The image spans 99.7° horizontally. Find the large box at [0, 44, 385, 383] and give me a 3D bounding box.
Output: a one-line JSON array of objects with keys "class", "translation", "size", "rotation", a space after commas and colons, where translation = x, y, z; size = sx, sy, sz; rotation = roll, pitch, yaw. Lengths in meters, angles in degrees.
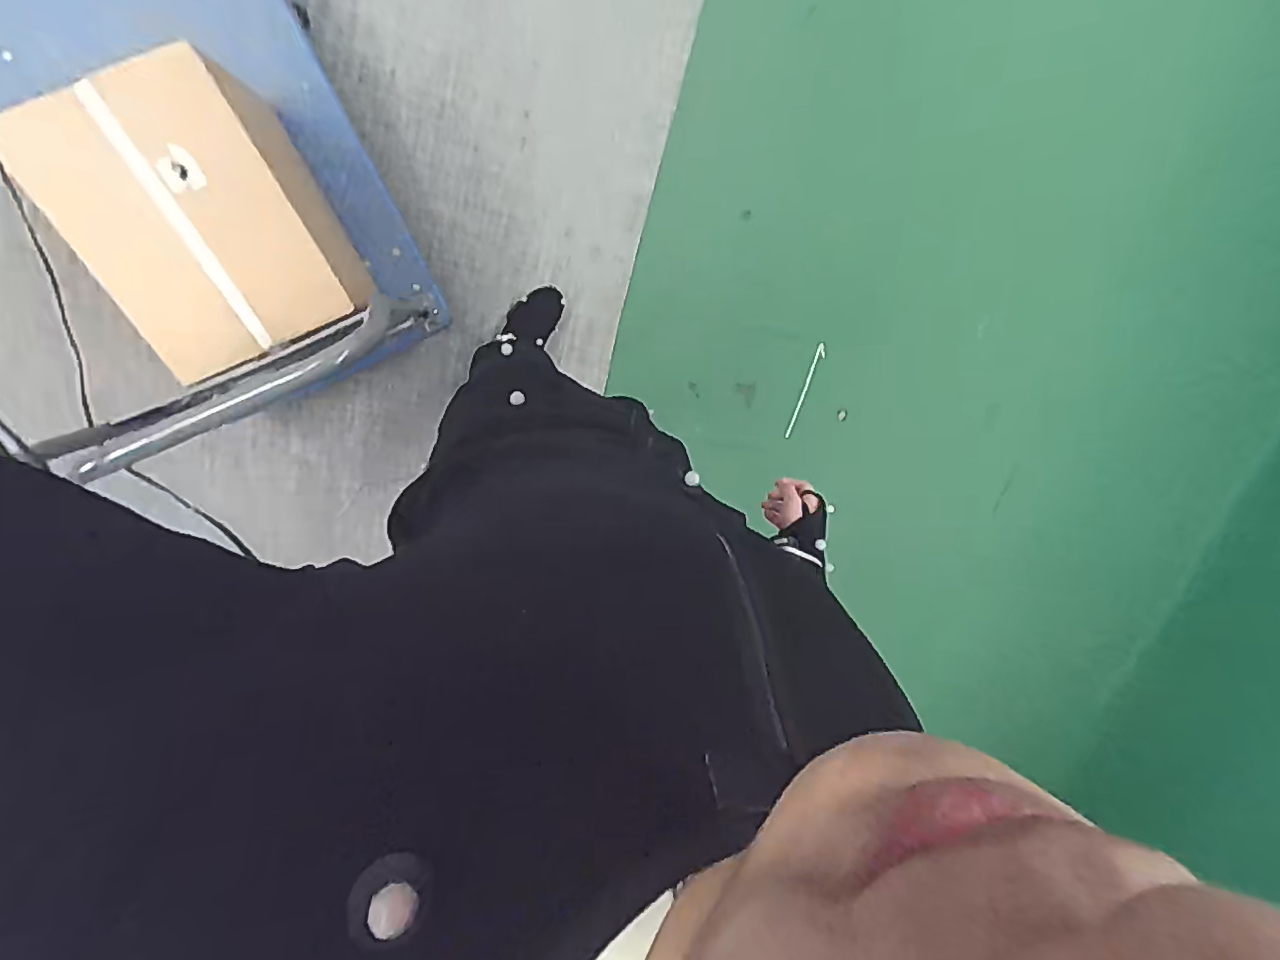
[{"class": "large box", "translation": [-0.733, -0.439, 0.970], "size": [0.320, 0.320, 0.408], "rotation": [-27, 114, -5]}]
